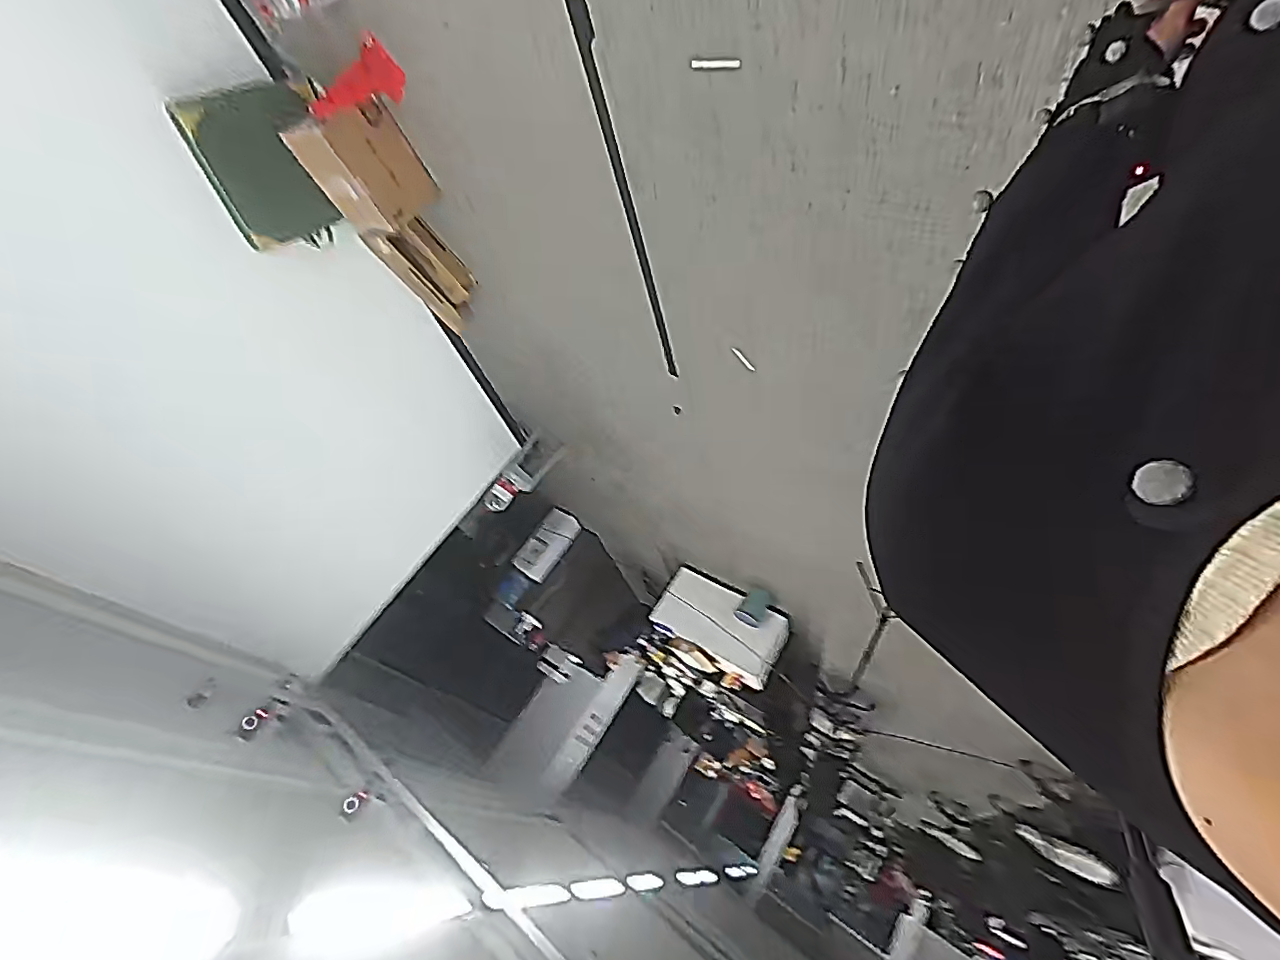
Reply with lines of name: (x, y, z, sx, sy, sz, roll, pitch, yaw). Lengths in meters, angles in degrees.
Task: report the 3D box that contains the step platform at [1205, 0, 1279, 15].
step platform: (0.925, -0.907, 0.532, 0.286, 0.204, 0.684, 26, 154, 26)
